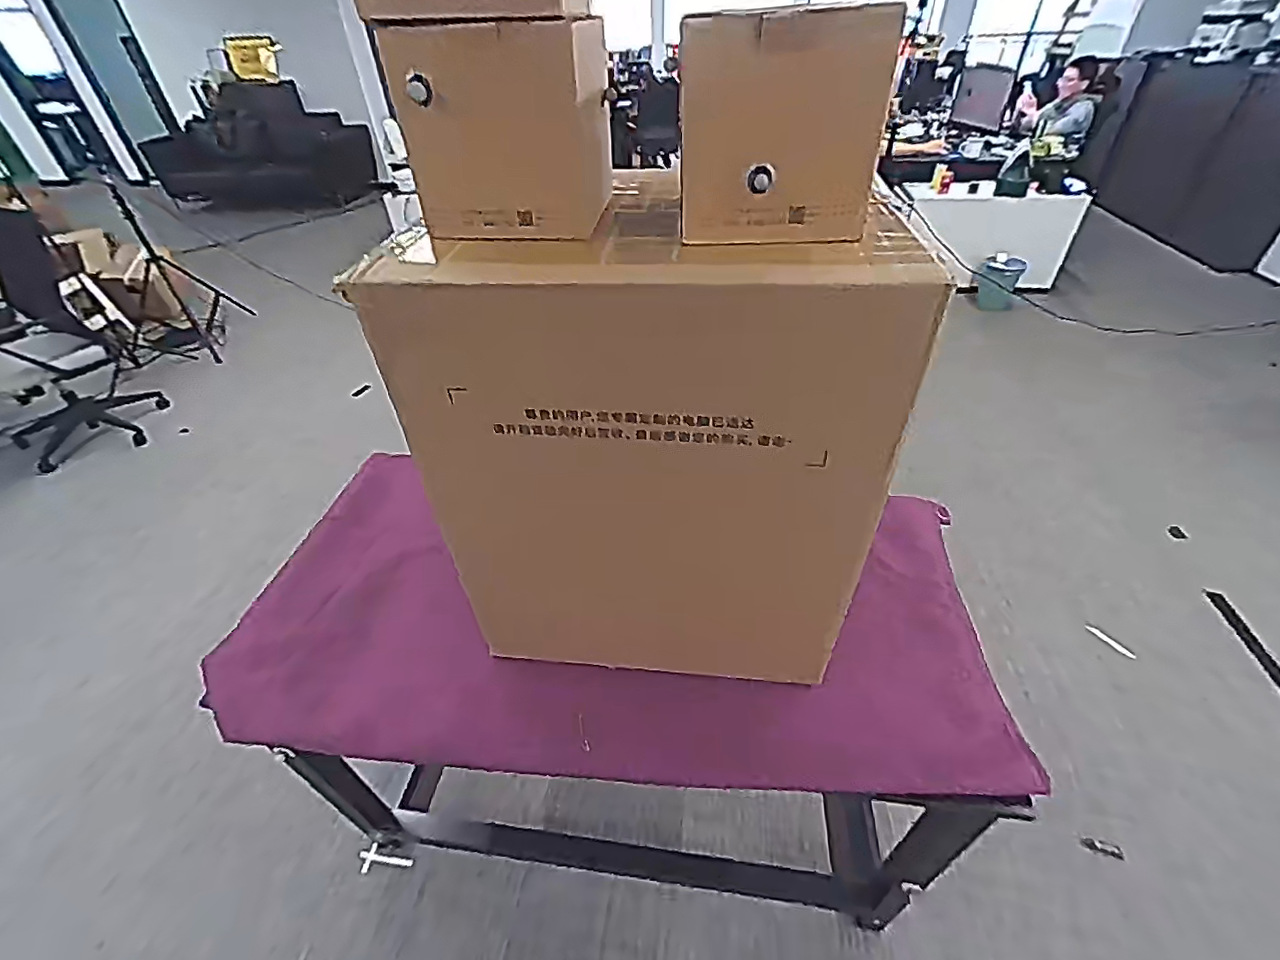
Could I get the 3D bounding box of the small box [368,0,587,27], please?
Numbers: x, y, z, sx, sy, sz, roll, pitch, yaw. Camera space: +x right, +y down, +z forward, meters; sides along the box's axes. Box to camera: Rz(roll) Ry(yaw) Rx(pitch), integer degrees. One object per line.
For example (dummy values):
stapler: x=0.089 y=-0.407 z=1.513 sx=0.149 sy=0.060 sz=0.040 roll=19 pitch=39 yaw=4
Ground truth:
small box: x=-0.137 y=-0.479 z=0.434 sx=0.168 sy=0.176 sz=0.179 roll=1 pitch=40 yaw=3

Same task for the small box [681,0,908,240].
small box: x=0.124 y=-0.340 z=0.511 sx=0.168 sy=0.176 sz=0.179 roll=0 pitch=41 yaw=5
